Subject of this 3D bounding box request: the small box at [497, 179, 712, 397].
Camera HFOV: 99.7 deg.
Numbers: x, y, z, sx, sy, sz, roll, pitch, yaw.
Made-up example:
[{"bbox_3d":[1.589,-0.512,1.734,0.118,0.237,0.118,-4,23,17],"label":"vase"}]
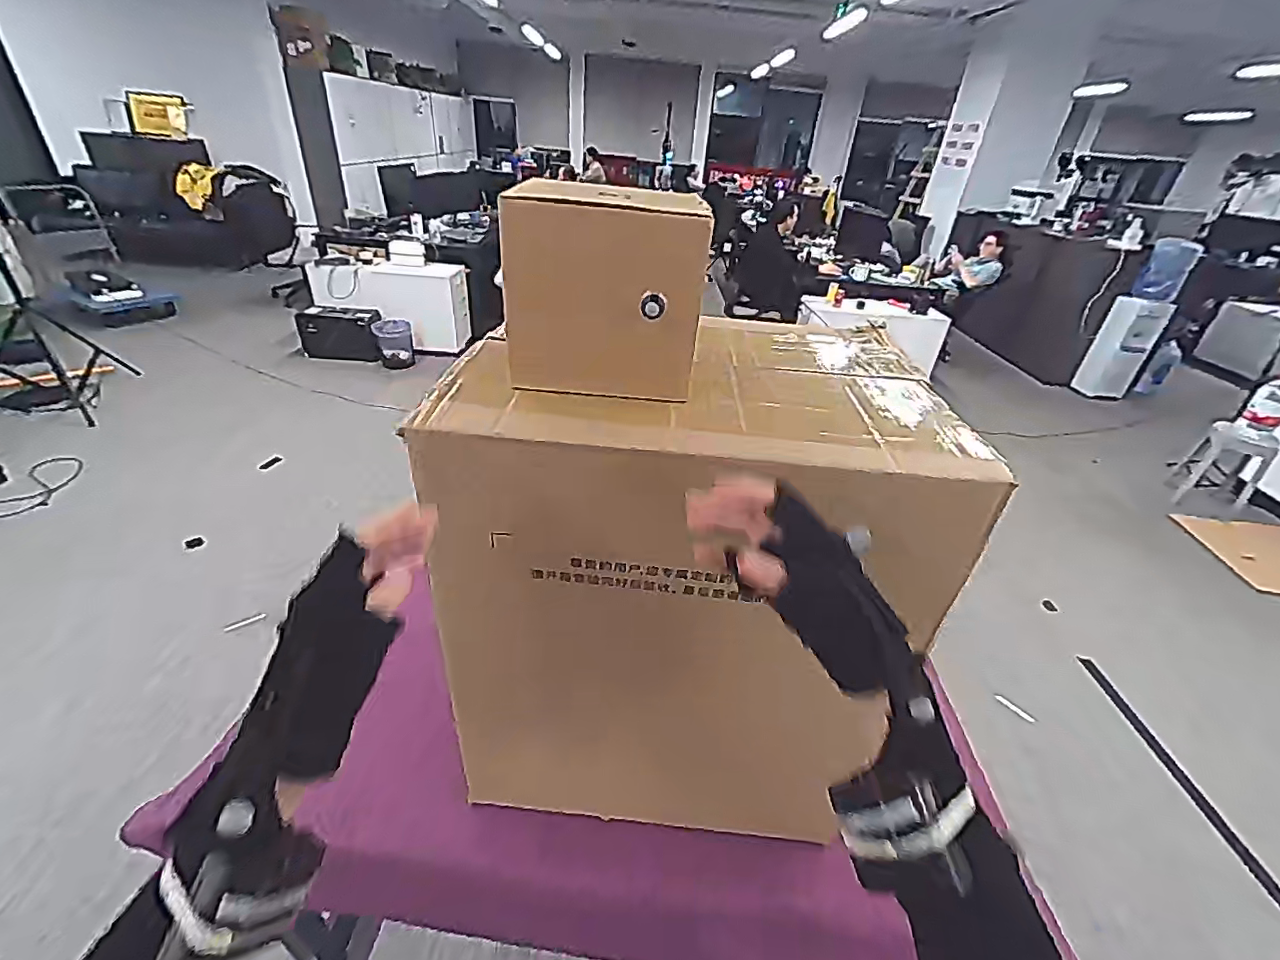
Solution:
[{"bbox_3d":[-0.034,-0.193,0.542,0.179,0.176,0.168,3,32,-2],"label":"small box"}]
